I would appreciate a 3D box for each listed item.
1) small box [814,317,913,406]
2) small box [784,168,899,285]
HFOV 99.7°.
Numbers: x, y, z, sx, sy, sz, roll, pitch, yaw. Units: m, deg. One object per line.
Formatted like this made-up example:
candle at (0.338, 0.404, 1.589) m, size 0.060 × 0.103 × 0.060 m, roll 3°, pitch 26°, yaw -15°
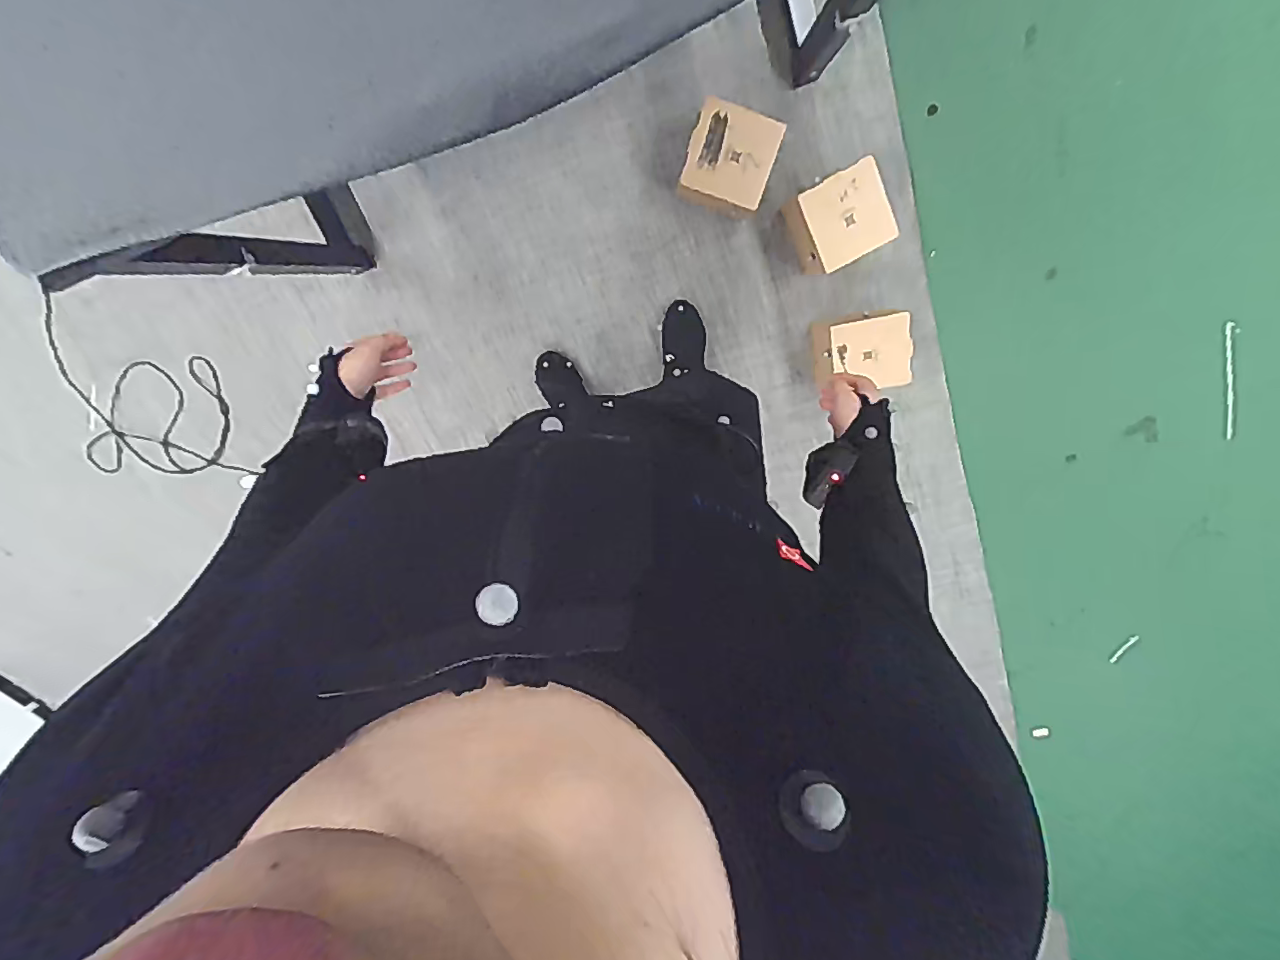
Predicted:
small box at (0.532, -0.290, 1.300) m, size 0.179 × 0.176 × 0.168 m, roll -10°, pitch 110°, yaw 6°
small box at (0.443, -0.557, 1.207) m, size 0.168 × 0.176 × 0.179 m, roll -26°, pitch 107°, yaw 11°
